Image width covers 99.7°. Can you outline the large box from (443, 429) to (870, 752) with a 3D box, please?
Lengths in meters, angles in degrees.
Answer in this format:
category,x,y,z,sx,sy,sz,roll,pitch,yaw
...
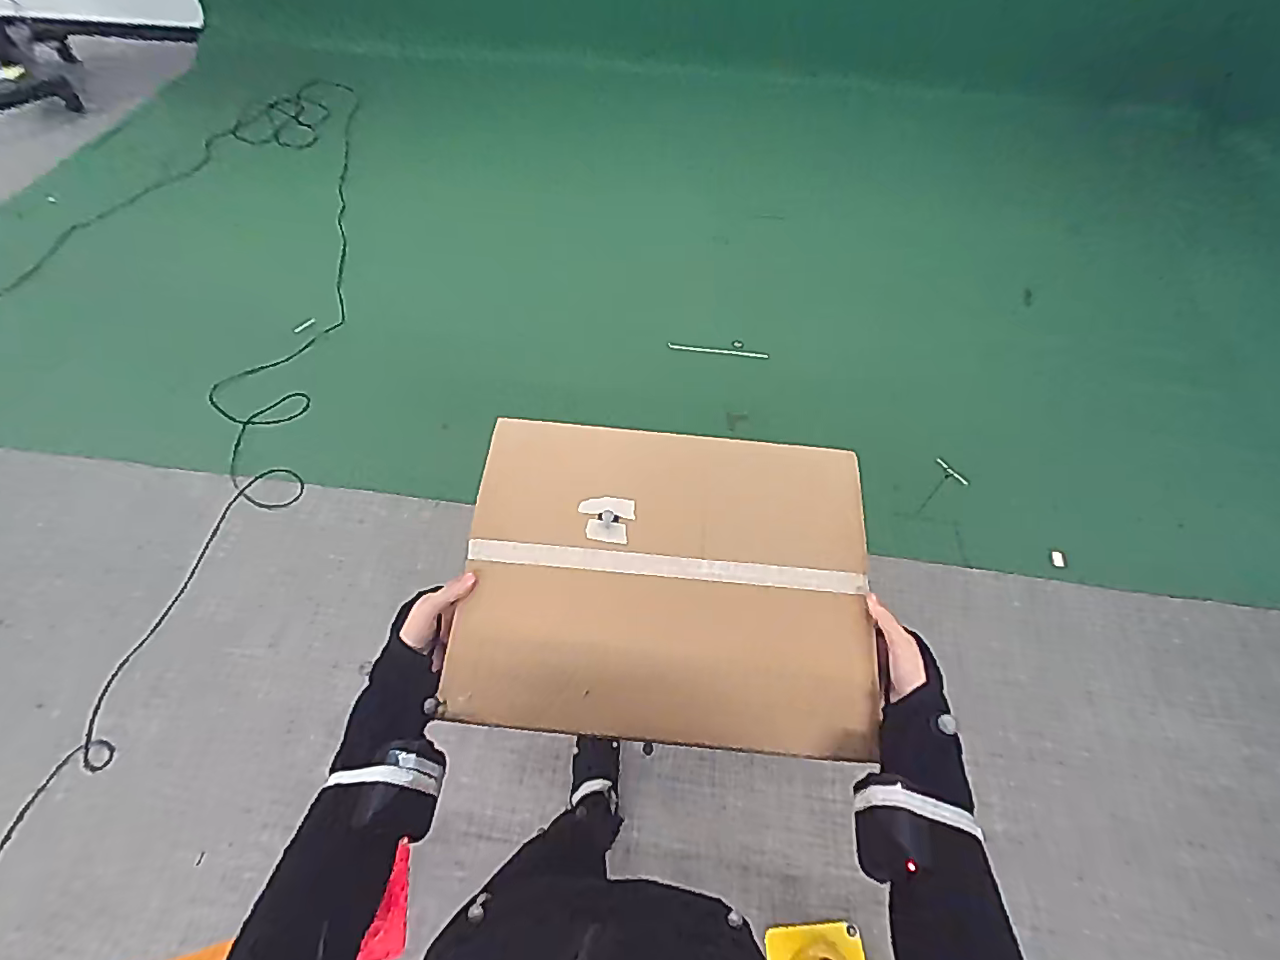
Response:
category,x,y,z,sx,sy,sz,roll,pitch,yaw
large box,0.025,0.154,0.694,0.408,0.320,0.320,5,65,1
